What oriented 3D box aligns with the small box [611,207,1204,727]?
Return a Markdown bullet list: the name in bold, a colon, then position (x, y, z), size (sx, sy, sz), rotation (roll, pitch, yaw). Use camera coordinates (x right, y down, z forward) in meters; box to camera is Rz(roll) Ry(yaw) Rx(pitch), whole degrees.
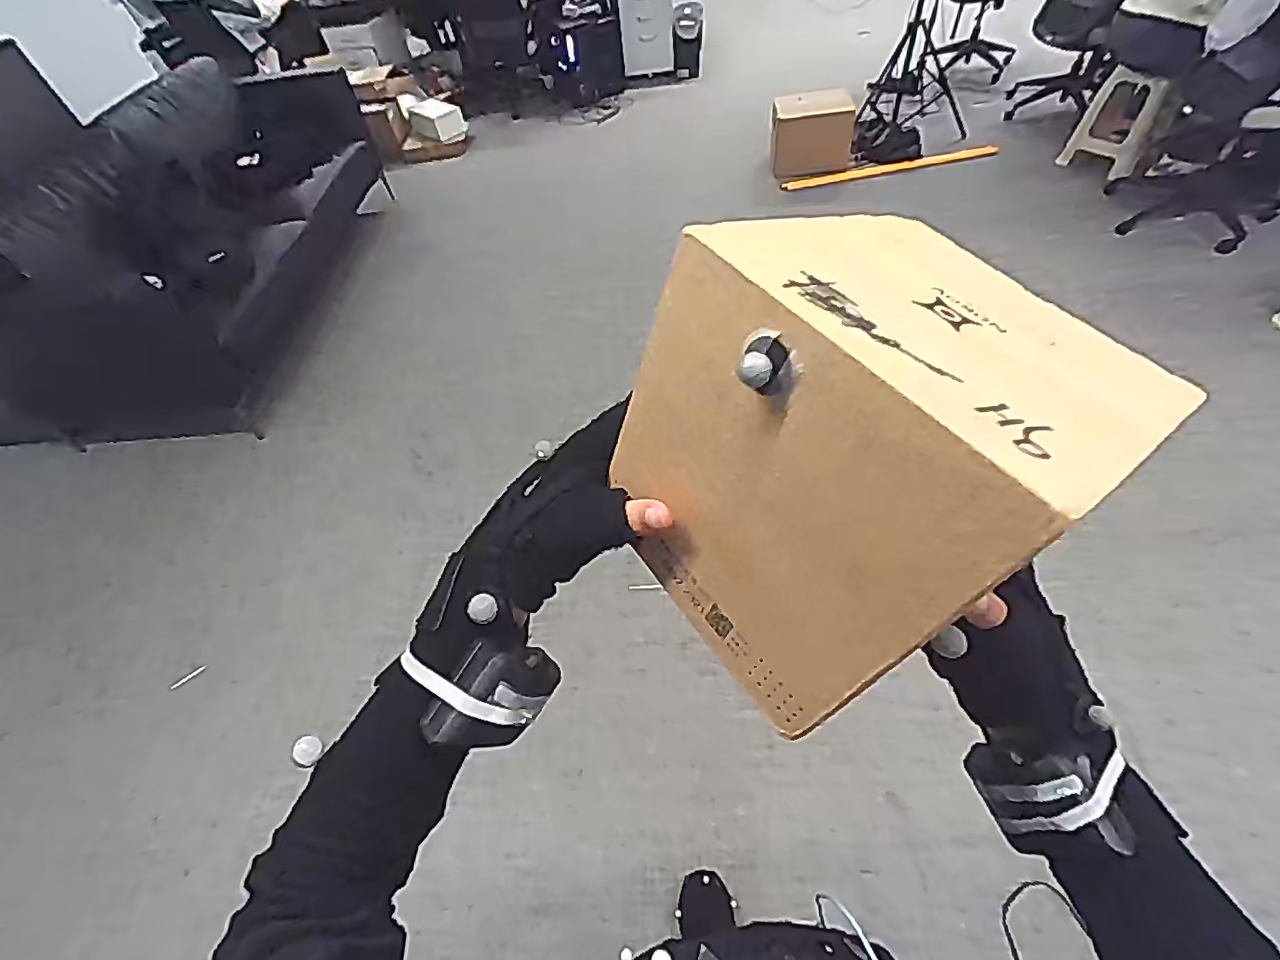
- **small box**: position (0.110, -0.013, 0.275), size (0.179, 0.176, 0.168), rotation (-19, 56, -35)
